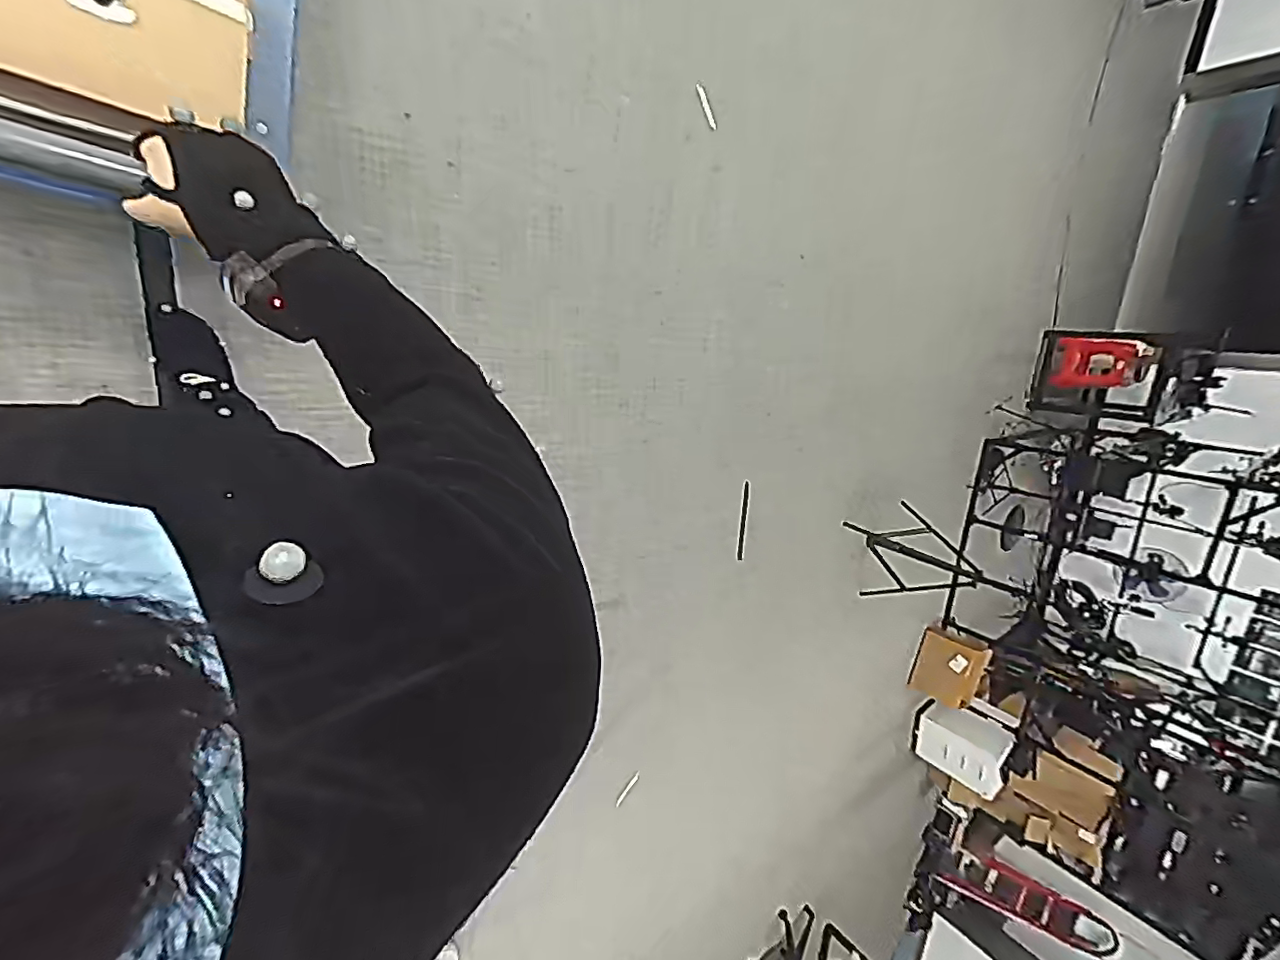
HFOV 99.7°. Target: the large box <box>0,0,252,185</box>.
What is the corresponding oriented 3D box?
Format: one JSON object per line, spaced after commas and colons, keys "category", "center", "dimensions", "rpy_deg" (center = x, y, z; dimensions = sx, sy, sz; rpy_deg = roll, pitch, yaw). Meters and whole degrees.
{"category": "large box", "center": [-0.746, -0.616, 0.675], "dimensions": [0.408, 0.320, 0.320], "rpy_deg": [1, 106, -41]}
